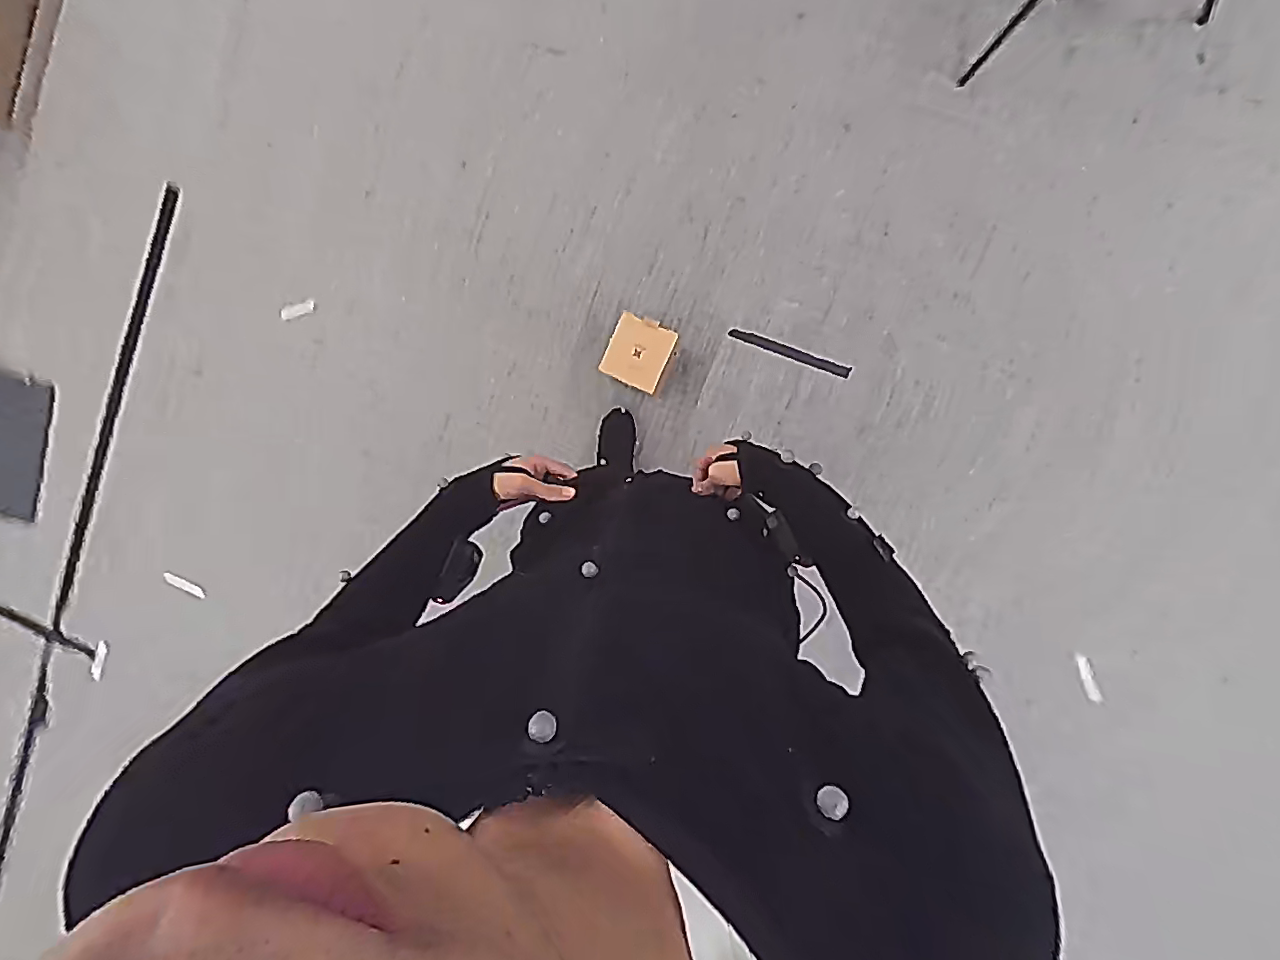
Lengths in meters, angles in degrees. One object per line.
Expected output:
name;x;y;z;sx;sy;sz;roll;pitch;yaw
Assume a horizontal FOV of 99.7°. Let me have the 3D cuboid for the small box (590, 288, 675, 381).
small box;-0.013;-0.383;1.452;0.168;0.176;0.179;26;98;5
